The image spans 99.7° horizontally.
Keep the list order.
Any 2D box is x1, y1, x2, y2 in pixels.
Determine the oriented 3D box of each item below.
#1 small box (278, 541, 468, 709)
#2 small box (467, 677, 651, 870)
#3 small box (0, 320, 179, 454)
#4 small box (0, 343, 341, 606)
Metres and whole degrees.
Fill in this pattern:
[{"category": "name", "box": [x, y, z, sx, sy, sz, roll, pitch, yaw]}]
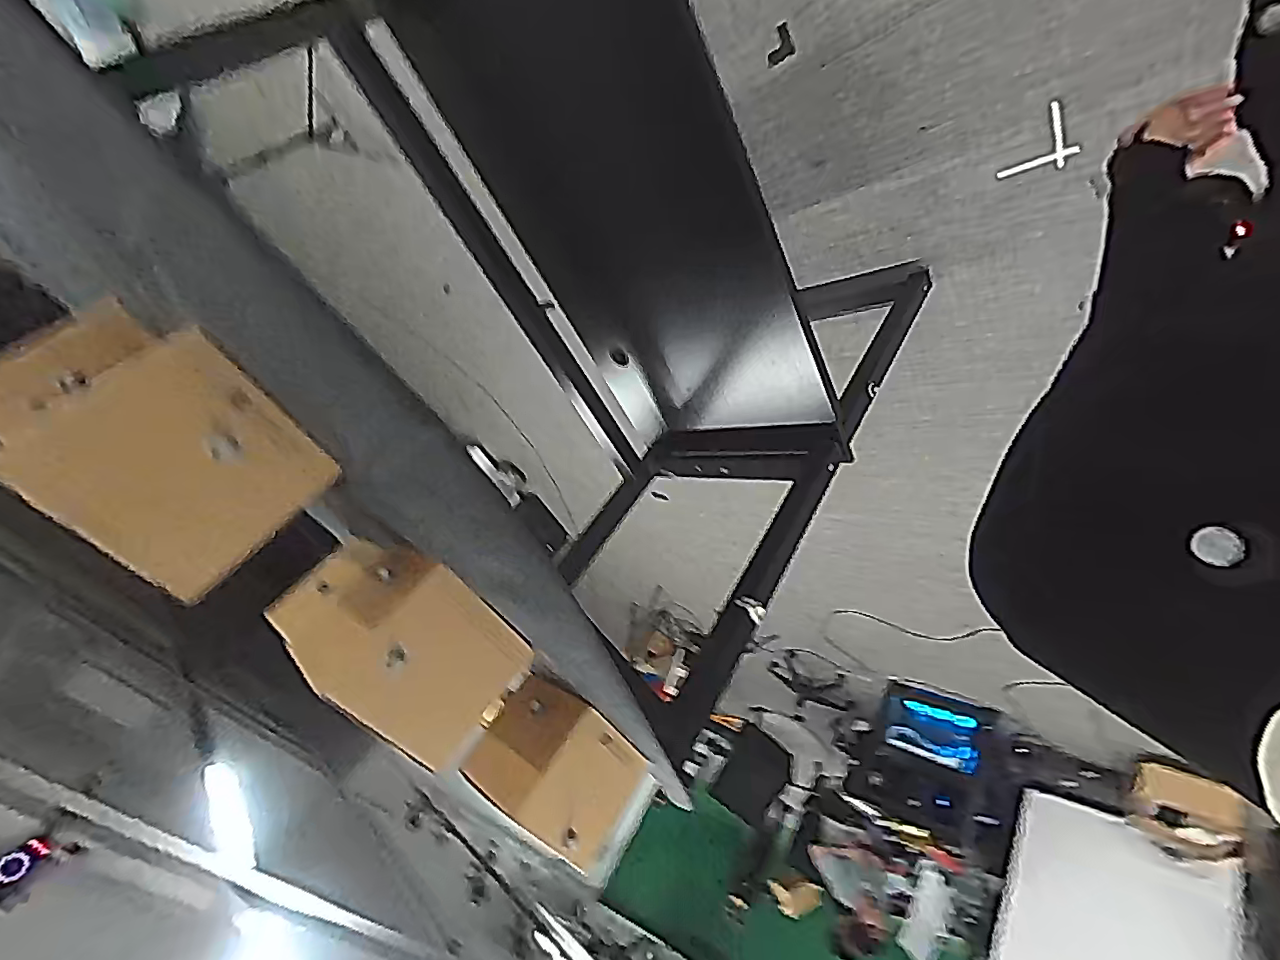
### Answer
[{"category": "small box", "box": [-0.412, 0.216, 0.847, 0.168, 0.176, 0.179, 3, 137, 46]}, {"category": "small box", "box": [-0.117, 0.424, 0.812, 0.179, 0.176, 0.168, 0, 134, 49]}, {"category": "small box", "box": [-0.610, -0.068, 0.646, 0.179, 0.176, 0.168, 0, 133, 48]}, {"category": "small box", "box": [-0.429, -0.012, 0.521, 0.179, 0.176, 0.168, 7, 140, 45]}]
